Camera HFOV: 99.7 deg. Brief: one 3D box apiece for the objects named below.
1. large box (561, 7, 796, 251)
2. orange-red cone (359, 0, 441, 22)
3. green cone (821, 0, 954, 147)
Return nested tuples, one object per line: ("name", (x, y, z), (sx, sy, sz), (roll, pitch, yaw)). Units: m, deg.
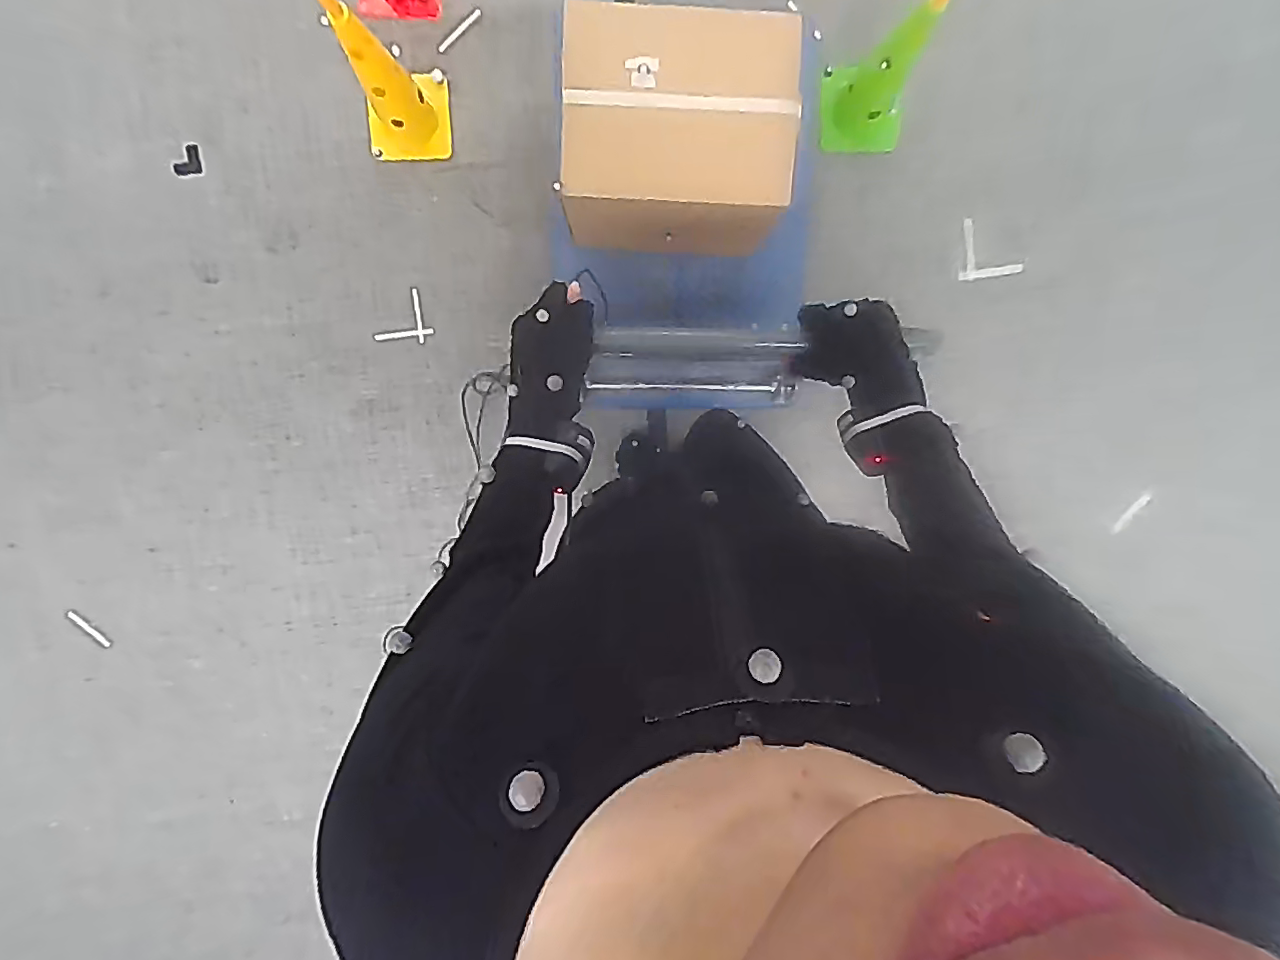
("large box", (0.064, -0.661, 1.078), (0.408, 0.320, 0.320), (2, 96, -1))
("orange-red cone", (-0.579, -1.216, 1.148), (0.198, 0.360, 0.199), (2, 95, -2))
("green cone", (0.564, -0.932, 1.201), (0.202, 0.368, 0.200), (-2, 96, -2))
